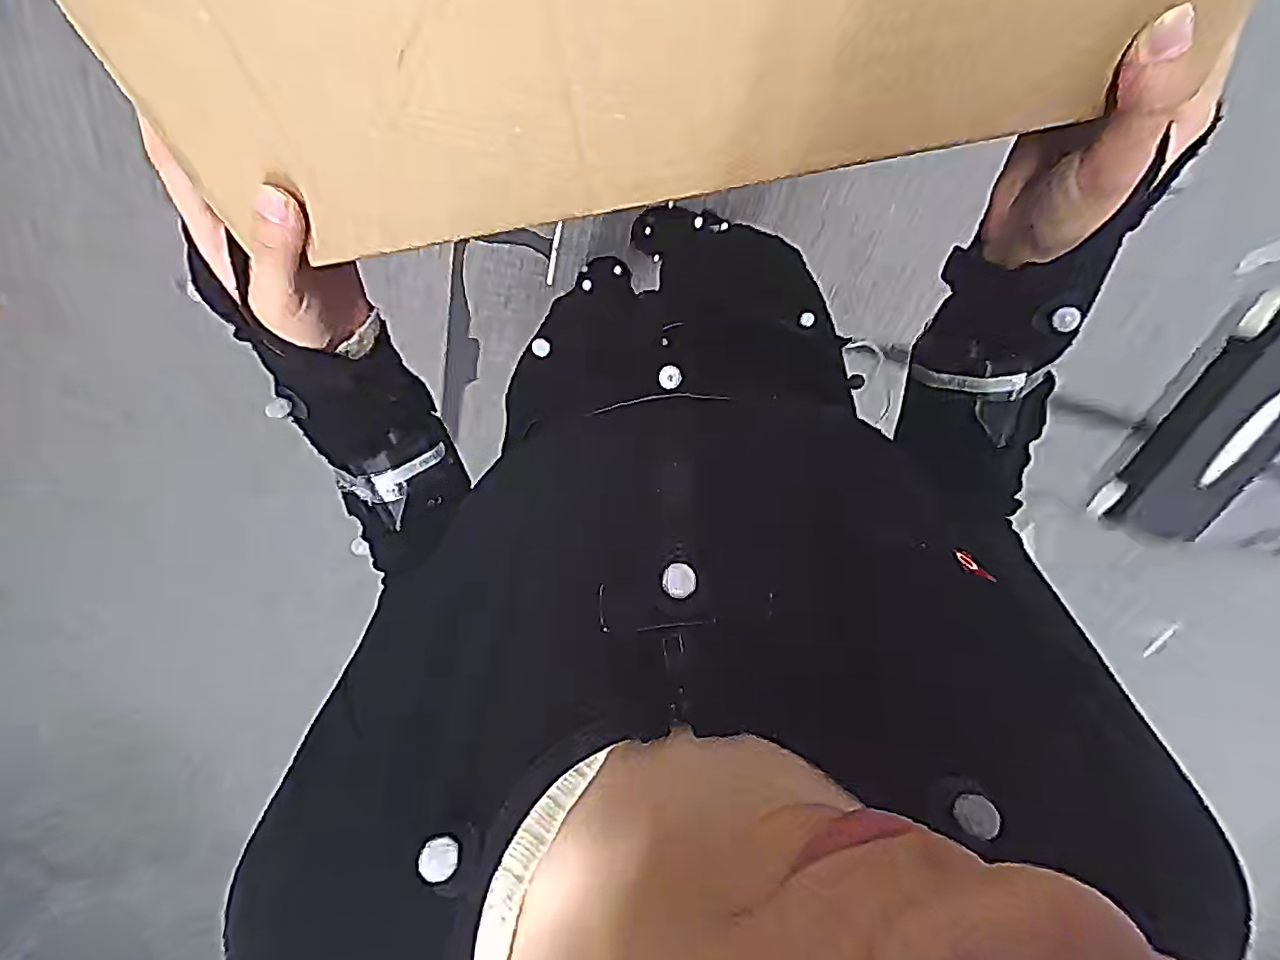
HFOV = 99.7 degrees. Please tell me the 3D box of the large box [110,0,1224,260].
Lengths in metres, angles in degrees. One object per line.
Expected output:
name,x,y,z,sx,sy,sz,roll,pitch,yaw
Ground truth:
large box,-0.005,-0.341,0.234,0.408,0.320,0.320,-7,138,6
